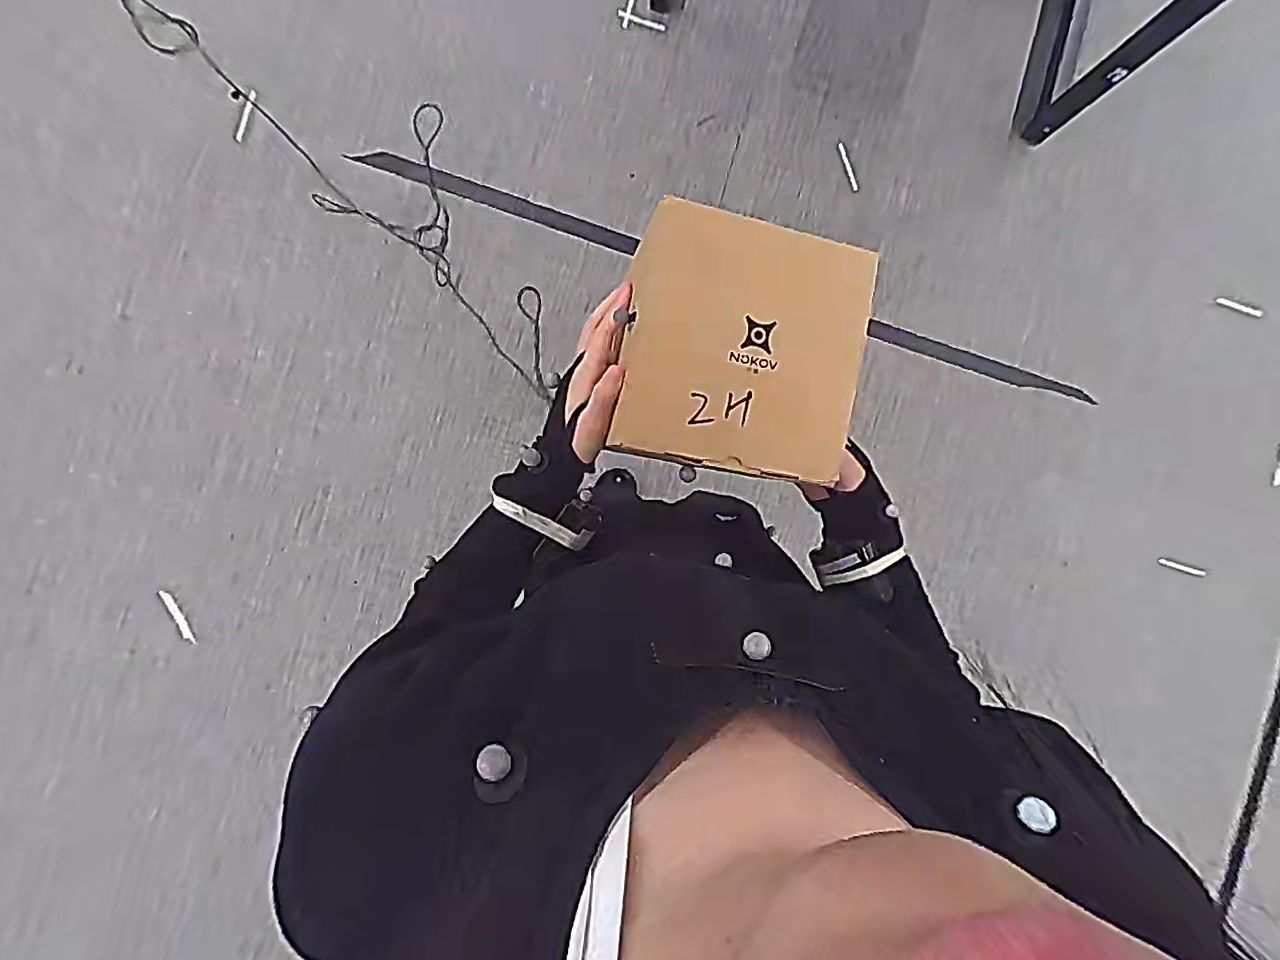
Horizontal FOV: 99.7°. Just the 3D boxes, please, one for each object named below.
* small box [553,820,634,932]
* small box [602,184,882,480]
[{"bbox_3d":[-0.121,1.017,1.401,0.179,0.176,0.168,10,89,-6],"label":"small box"},{"bbox_3d":[0.067,-0.102,0.452,0.168,0.176,0.179,10,91,-10],"label":"small box"}]
